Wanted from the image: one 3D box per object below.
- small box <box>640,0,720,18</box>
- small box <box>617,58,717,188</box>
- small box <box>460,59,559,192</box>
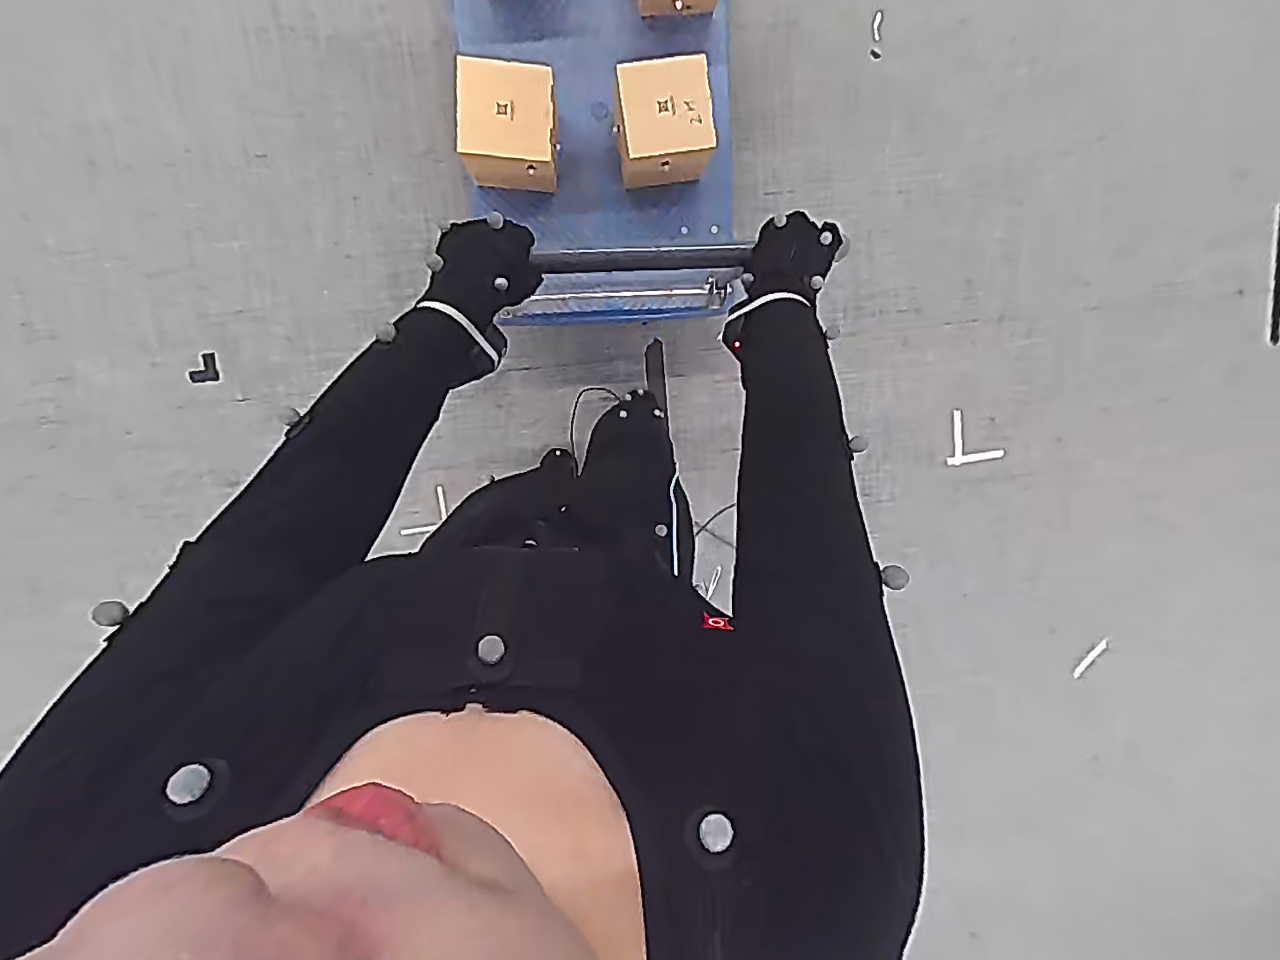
[{"bbox_3d":[0.082,-1.057,1.057,0.168,0.176,0.179,-7,102,-4],"label":"small box"},{"bbox_3d":[0.048,-0.723,1.114,0.179,0.176,0.168,-9,101,-4],"label":"small box"},{"bbox_3d":[-0.256,-0.701,1.089,0.179,0.176,0.168,2,99,-8],"label":"small box"}]
